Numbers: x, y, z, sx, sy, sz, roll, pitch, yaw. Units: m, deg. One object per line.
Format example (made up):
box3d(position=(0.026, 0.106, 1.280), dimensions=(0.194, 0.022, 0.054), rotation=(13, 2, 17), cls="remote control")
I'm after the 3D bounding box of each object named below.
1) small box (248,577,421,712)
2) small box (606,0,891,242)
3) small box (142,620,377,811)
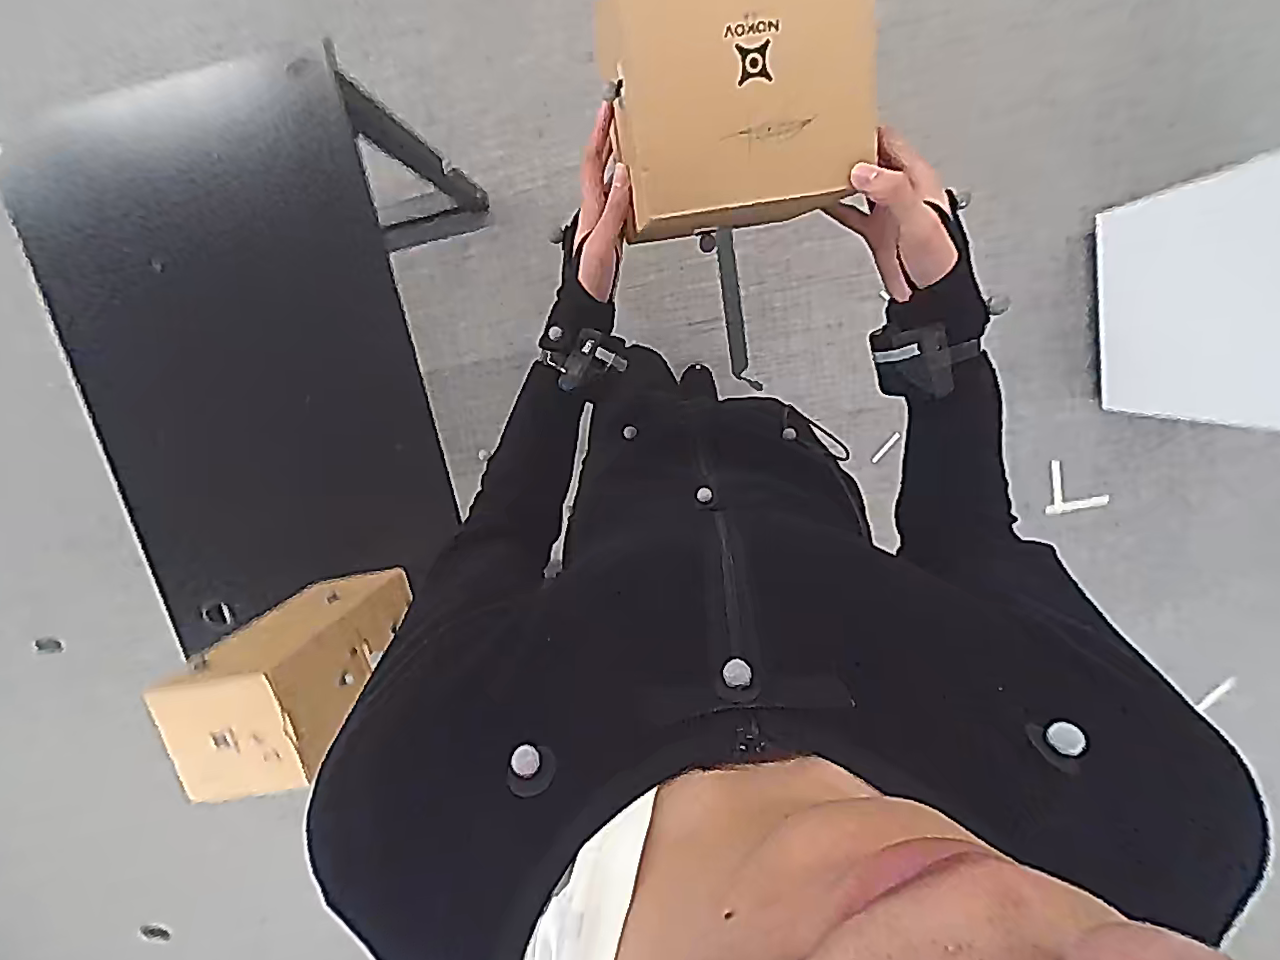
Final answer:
box3d(position=(-0.492, 0.277, 0.905), dimensions=(0.179, 0.176, 0.168), rotation=(-12, 101, 6), cls="small box")
box3d(position=(0.069, -0.294, 0.414), dimensions=(0.168, 0.176, 0.179), rotation=(-9, 109, -4), cls="small box")
box3d(position=(-0.505, 0.313, 0.744), dimensions=(0.179, 0.176, 0.168), rotation=(-11, 102, 6), cls="small box")
